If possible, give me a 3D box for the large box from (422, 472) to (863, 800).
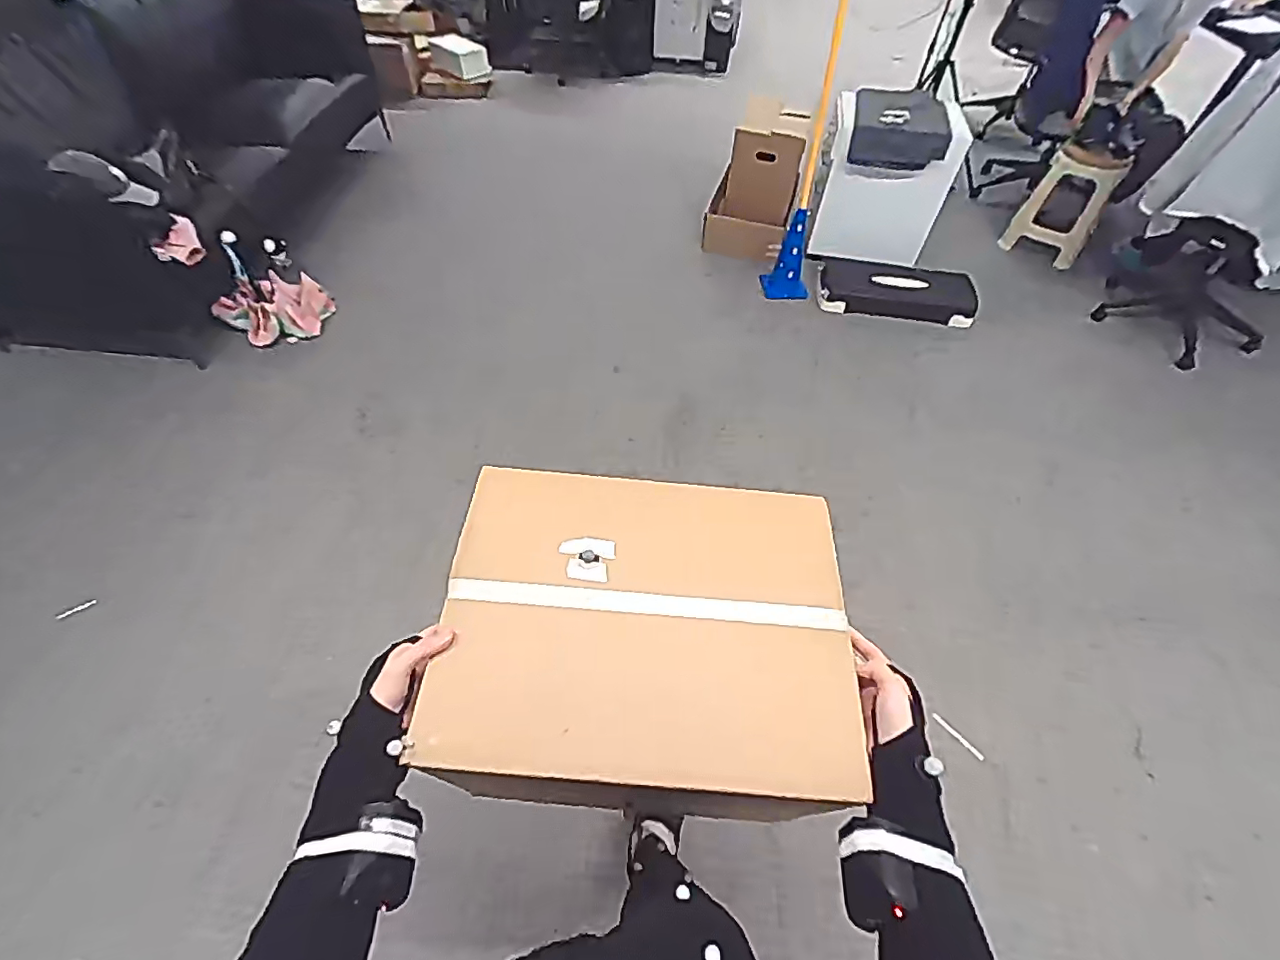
[{"bbox_3d":[0.006,0.212,0.687,0.408,0.320,0.320,5,55,0],"label":"large box"}]
